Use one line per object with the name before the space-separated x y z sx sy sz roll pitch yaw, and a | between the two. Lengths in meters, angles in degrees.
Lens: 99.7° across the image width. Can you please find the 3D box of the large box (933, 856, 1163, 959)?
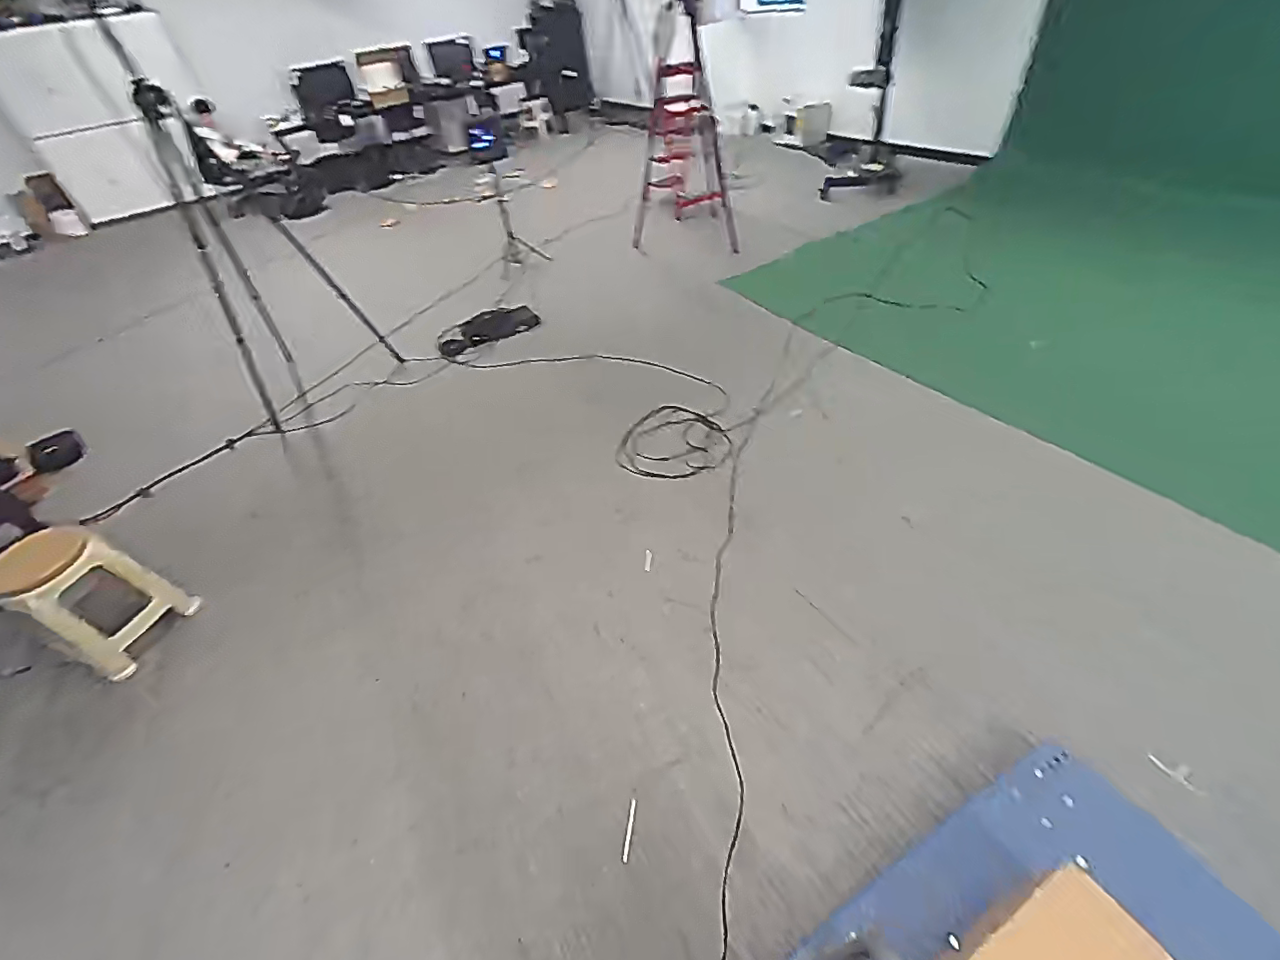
large box | 0.640 0.918 0.865 0.408 0.320 0.320 -26 46 -18
